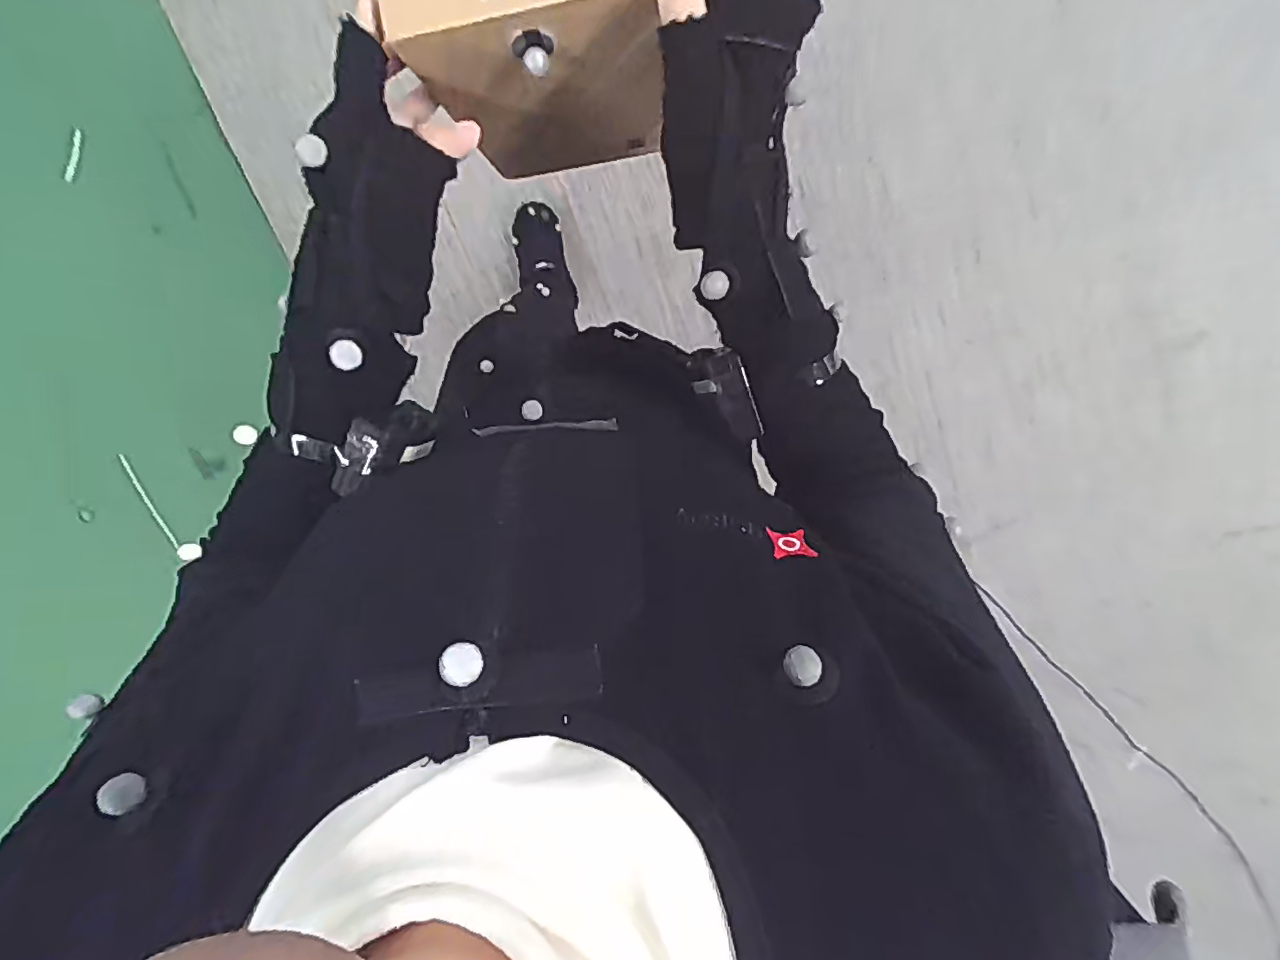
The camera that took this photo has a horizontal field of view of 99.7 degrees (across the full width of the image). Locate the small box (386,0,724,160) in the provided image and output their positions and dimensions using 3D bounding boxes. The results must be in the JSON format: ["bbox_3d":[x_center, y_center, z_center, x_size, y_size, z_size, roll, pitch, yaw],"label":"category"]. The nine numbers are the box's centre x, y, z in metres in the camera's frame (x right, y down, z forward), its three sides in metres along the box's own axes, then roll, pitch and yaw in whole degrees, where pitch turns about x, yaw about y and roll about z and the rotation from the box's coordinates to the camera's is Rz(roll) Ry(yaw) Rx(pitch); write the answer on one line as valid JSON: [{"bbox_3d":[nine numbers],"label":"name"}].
[{"bbox_3d":[-0.045,-0.322,0.310,0.168,0.176,0.179,-7,98,6],"label":"small box"}]
